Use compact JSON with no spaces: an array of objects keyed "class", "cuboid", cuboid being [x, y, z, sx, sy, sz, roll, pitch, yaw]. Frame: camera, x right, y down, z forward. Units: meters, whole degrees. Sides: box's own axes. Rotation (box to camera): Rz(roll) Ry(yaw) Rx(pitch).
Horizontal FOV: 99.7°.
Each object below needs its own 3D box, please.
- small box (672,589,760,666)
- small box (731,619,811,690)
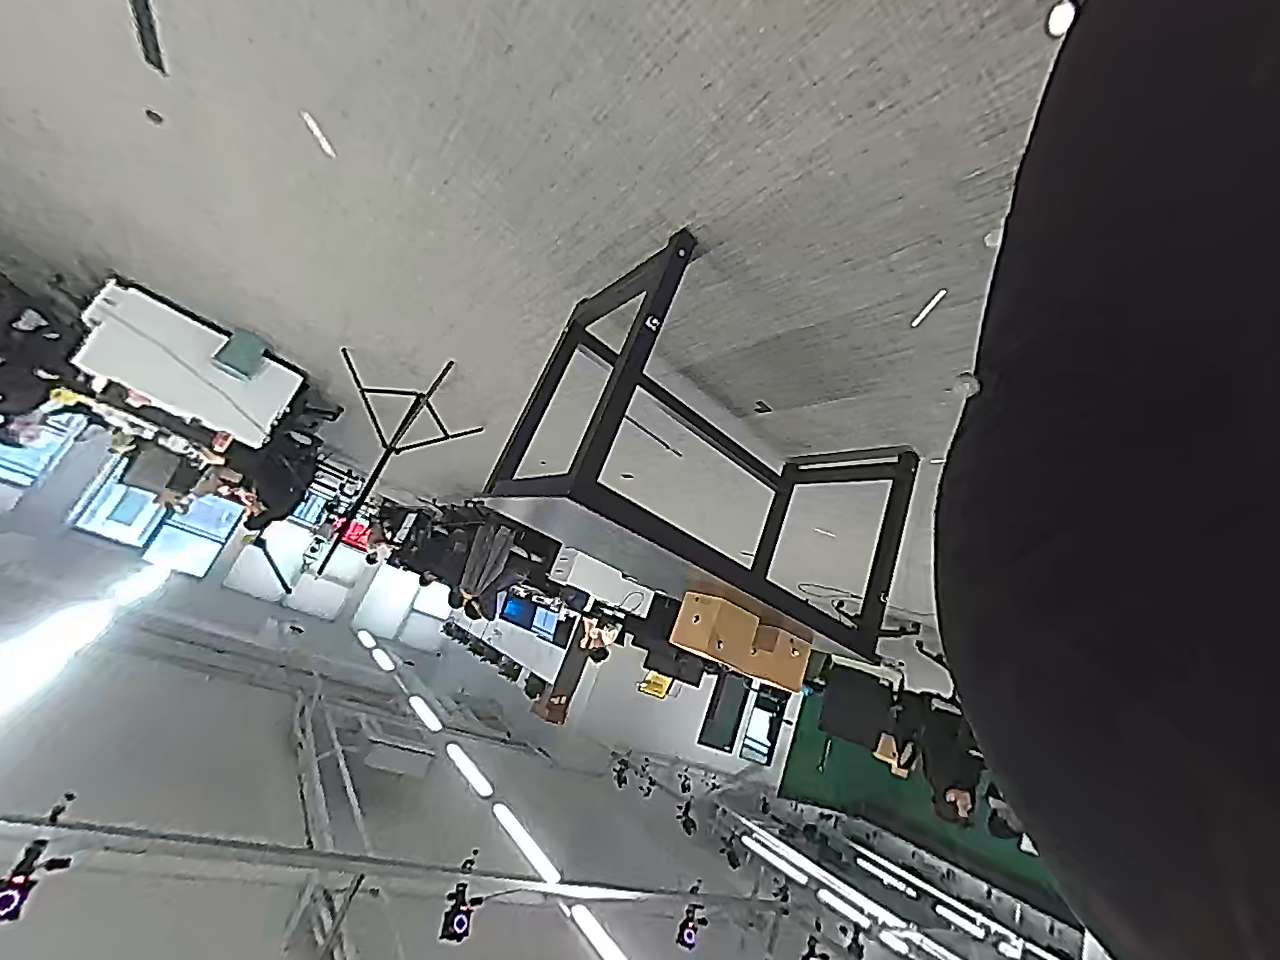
[{"class":"small box","cuboid":[0.235,0.446,1.657,0.179,0.176,0.168,32,162,-29]},{"class":"small box","cuboid":[0.435,0.567,1.786,0.168,0.176,0.179,31,161,-27]}]
